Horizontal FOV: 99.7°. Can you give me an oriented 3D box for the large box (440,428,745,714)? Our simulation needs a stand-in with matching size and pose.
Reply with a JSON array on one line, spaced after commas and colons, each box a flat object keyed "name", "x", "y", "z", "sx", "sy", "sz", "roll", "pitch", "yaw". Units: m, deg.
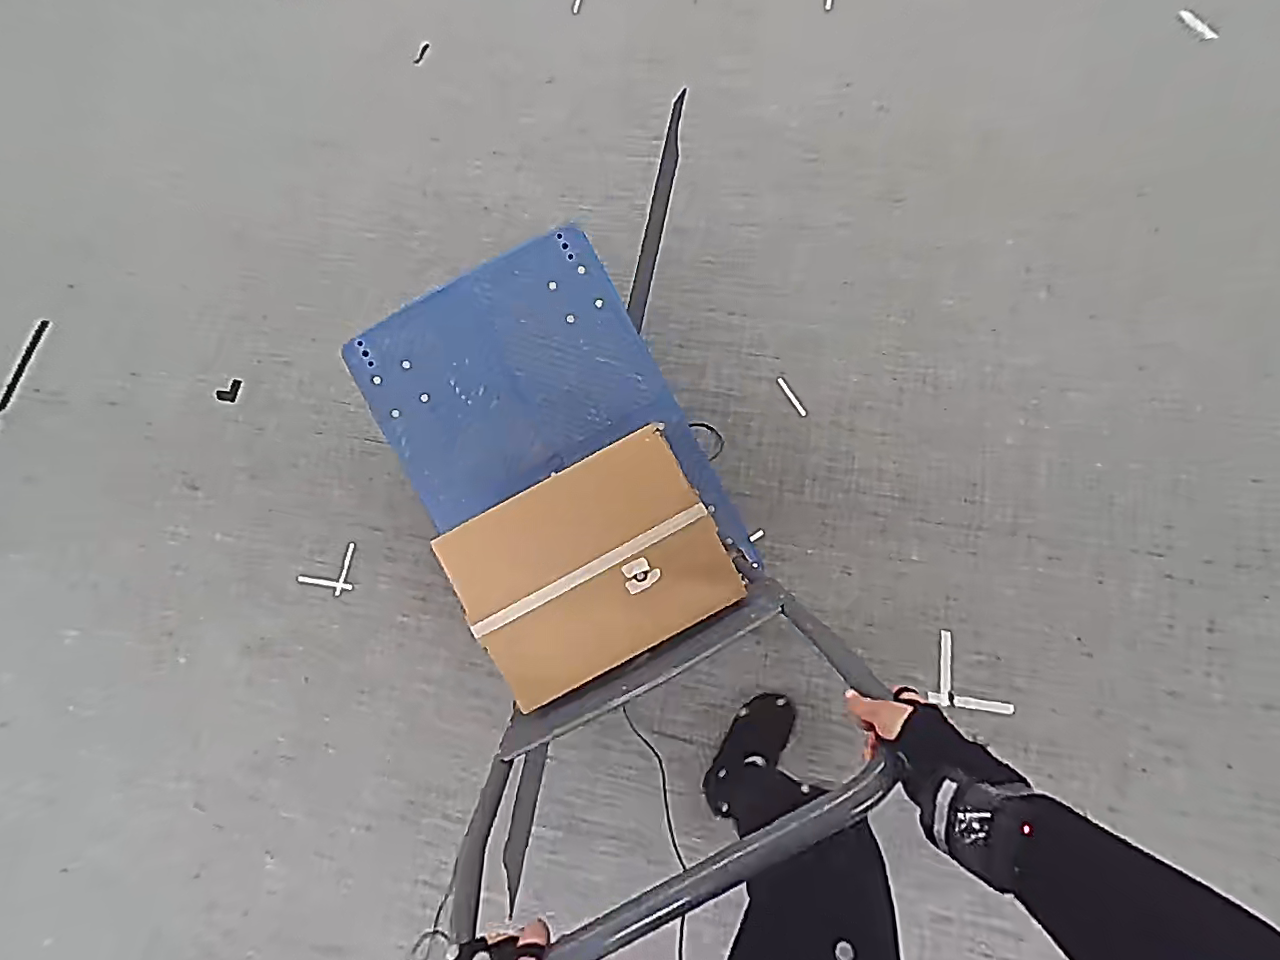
[{"name": "large box", "x": -0.079, "y": 0.146, "z": 1.006, "sx": 0.408, "sy": 0.320, "sz": 0.320, "roll": -29, "pitch": 91, "yaw": -1}]
